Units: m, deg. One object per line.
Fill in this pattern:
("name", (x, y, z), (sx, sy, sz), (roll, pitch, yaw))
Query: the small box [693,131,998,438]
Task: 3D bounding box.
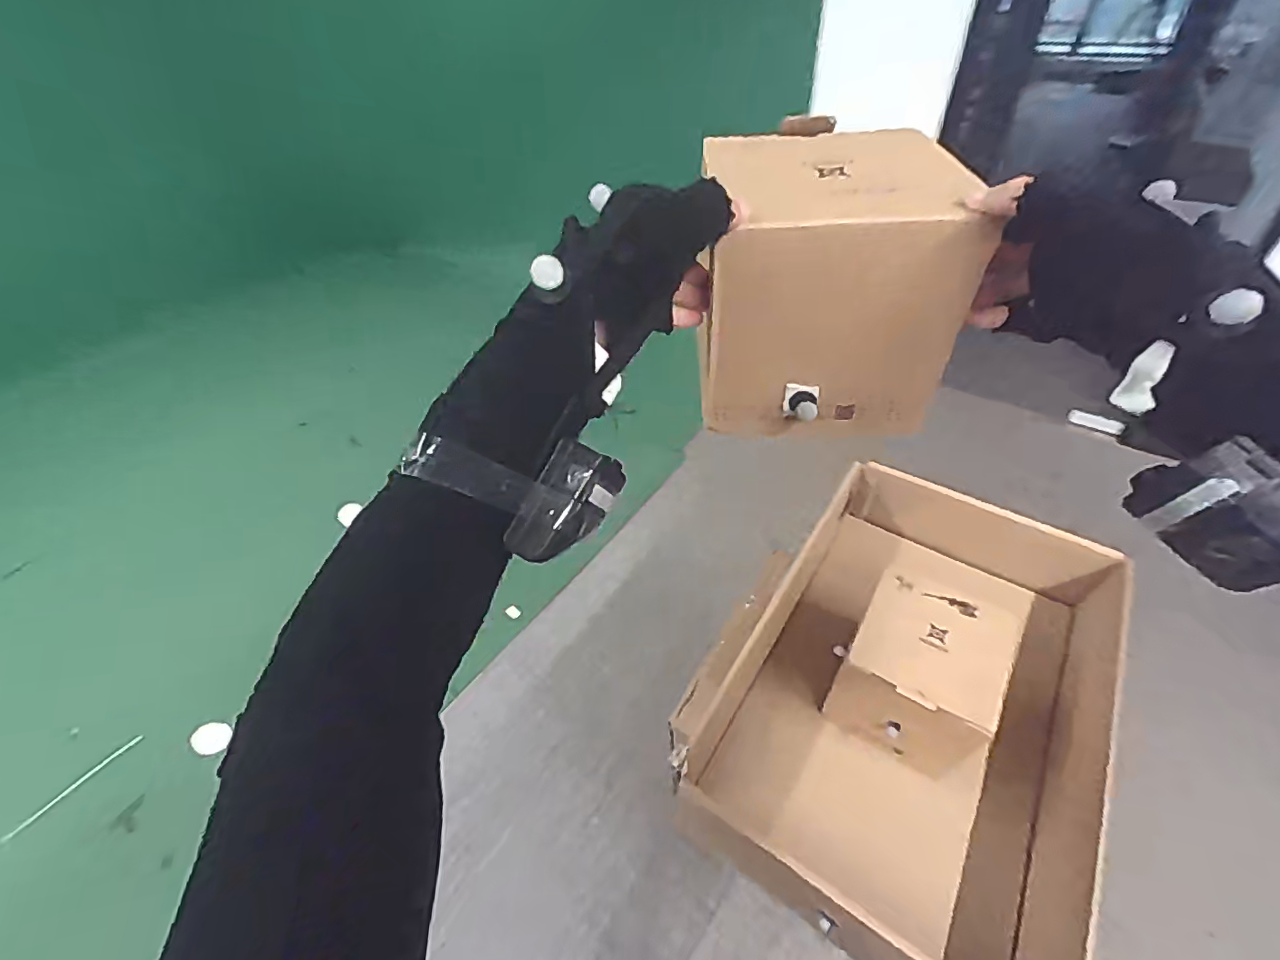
("small box", (0.129, -0.152, 0.427), (0.168, 0.176, 0.179), (-2, 48, 3))
